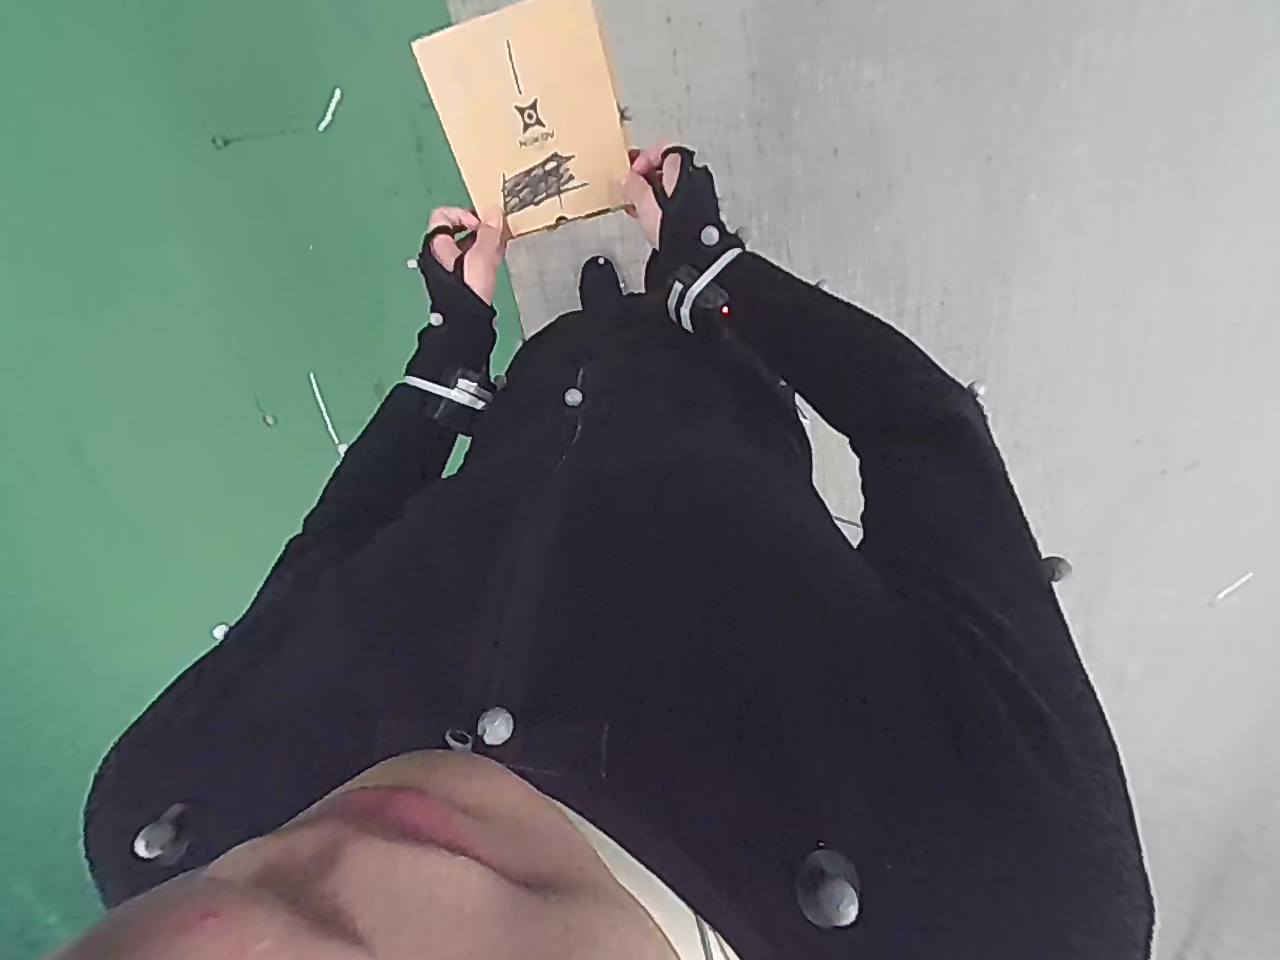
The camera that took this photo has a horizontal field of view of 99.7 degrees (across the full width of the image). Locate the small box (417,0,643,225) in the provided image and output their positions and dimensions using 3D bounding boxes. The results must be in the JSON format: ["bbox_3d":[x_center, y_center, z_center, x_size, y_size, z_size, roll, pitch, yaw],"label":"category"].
[{"bbox_3d":[-0.093,-0.390,0.565,0.168,0.176,0.179,-9,123,8],"label":"small box"}]
